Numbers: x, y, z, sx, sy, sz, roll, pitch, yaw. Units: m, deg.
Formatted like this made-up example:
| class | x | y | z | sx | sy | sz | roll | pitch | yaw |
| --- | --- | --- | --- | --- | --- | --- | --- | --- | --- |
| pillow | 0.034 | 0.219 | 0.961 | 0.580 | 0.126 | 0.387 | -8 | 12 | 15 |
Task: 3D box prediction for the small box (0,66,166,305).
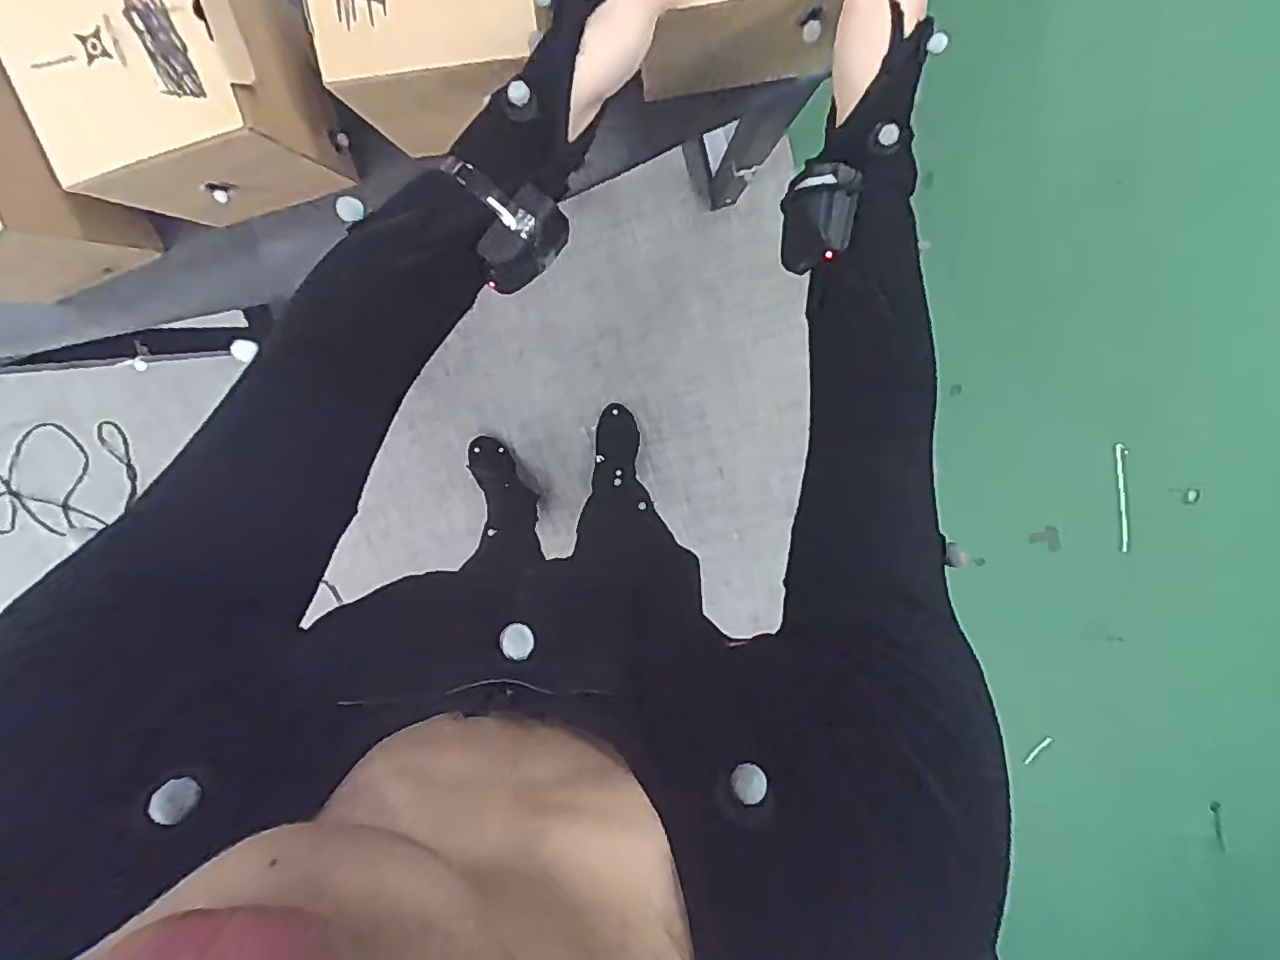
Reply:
| class | x | y | z | sx | sy | sz | roll | pitch | yaw |
| --- | --- | --- | --- | --- | --- | --- | --- | --- | --- |
| small box | -0.636 | -0.282 | 0.523 | 0.168 | 0.176 | 0.179 | -18 | 105 | 7 |
